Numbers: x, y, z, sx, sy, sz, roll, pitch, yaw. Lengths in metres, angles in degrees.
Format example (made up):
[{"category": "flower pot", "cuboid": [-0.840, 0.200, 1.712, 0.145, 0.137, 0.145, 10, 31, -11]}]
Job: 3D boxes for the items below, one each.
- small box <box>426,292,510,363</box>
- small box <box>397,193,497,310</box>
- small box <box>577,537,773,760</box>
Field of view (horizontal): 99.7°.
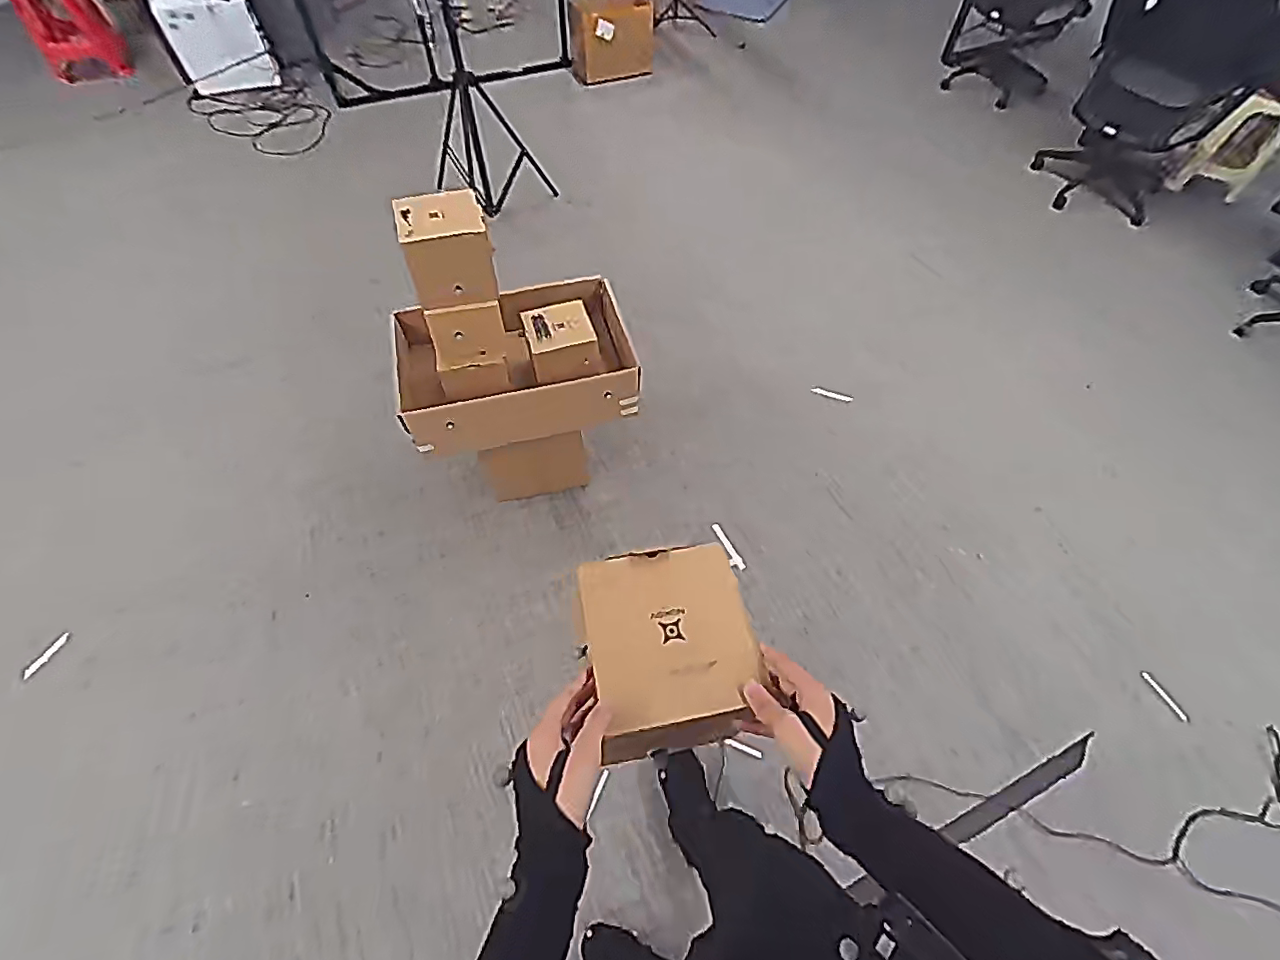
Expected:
[{"category": "small box", "cuboid": [-0.426, -0.407, 1.334, 0.168, 0.176, 0.179, -13, 58, -12]}, {"category": "small box", "cuboid": [-0.422, -0.505, 1.203, 0.179, 0.176, 0.168, -14, 58, -12]}, {"category": "small box", "cuboid": [0.022, 0.187, 0.602, 0.168, 0.176, 0.179, -6, 54, -12]}]
